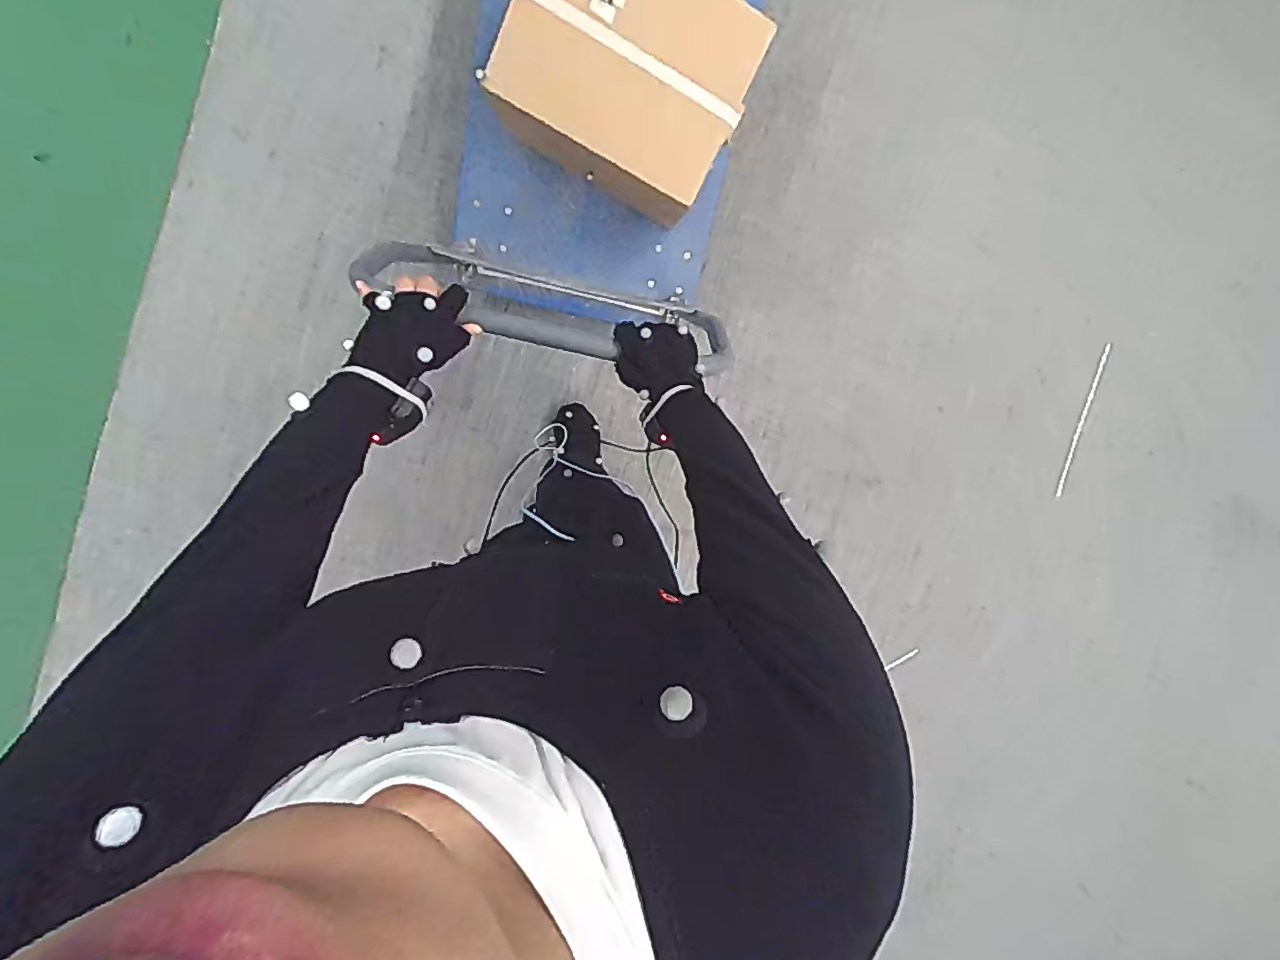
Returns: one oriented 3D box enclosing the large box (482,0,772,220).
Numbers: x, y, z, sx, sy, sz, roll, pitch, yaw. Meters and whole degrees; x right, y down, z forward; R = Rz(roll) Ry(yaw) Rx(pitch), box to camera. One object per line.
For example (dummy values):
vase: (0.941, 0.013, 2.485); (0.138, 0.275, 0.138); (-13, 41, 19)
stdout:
large box: (-0.027, -0.757, 1.039); (0.408, 0.320, 0.320); (26, 105, -11)
